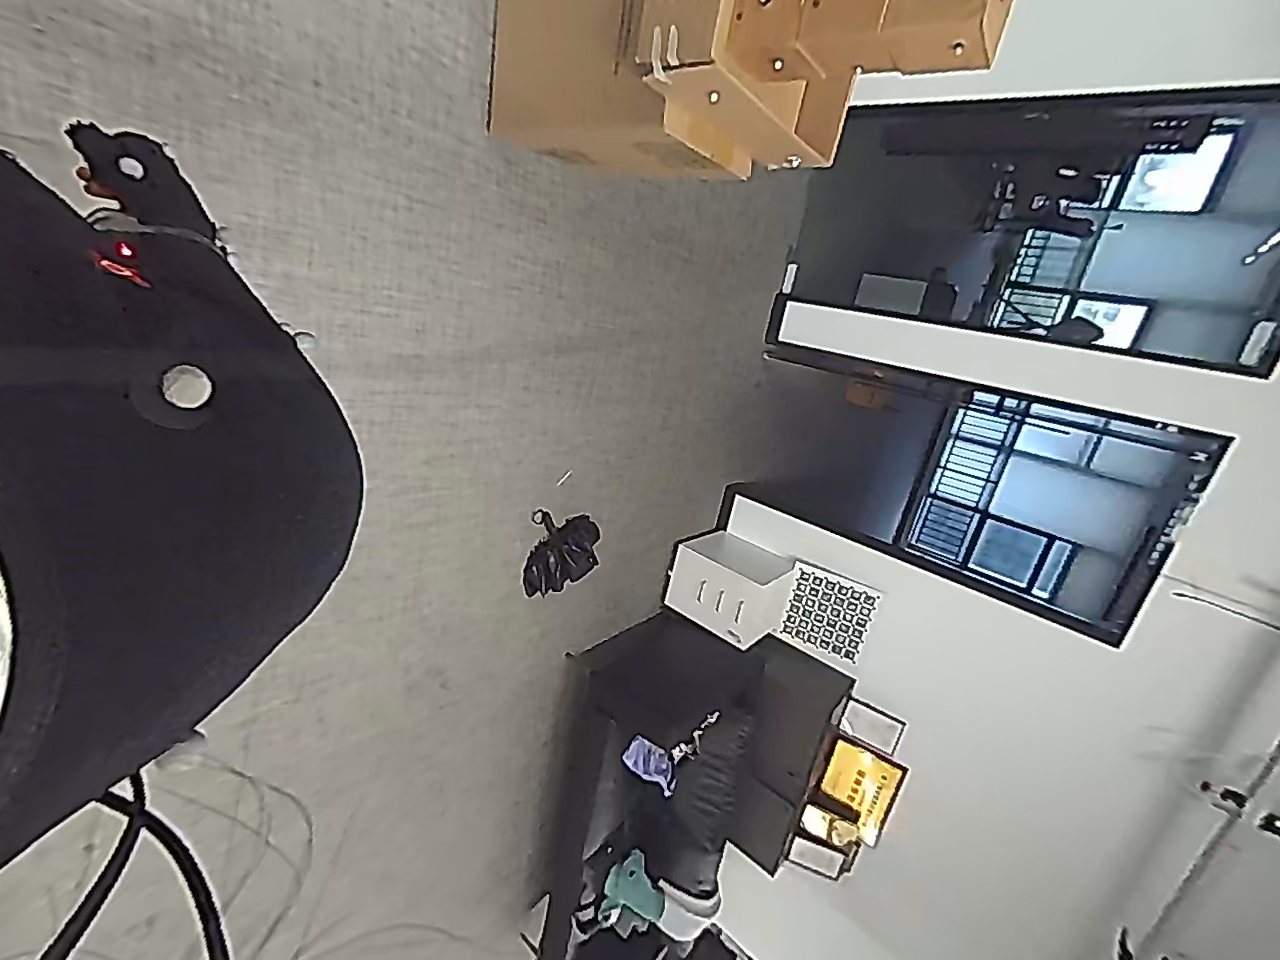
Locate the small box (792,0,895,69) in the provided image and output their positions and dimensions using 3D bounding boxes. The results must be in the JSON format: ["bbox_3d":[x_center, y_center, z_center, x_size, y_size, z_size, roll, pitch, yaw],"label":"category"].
[{"bbox_3d":[0.426,-0.942,1.069,0.179,0.176,0.168,-16,123,-49],"label":"small box"}]

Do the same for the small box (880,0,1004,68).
[{"bbox_3d":[0.559,-0.886,0.989,0.179,0.176,0.168,-13,120,-53],"label":"small box"}]
